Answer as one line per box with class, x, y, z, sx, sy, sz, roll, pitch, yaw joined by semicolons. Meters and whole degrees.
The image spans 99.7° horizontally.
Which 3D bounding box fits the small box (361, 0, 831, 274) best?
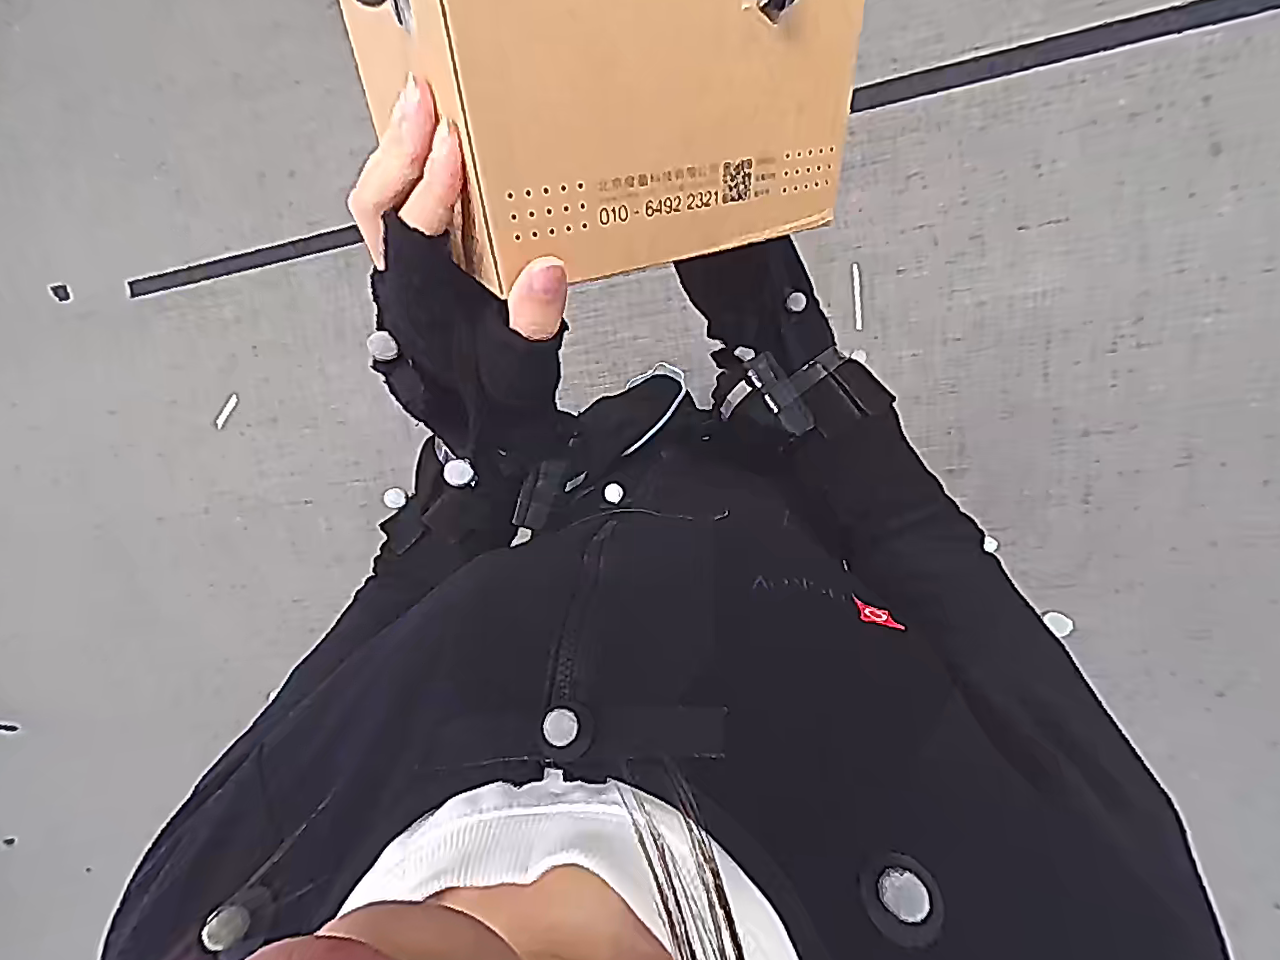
small box;-0.026;-0.207;0.255;0.168;0.179;0.176;-21;130;-23
